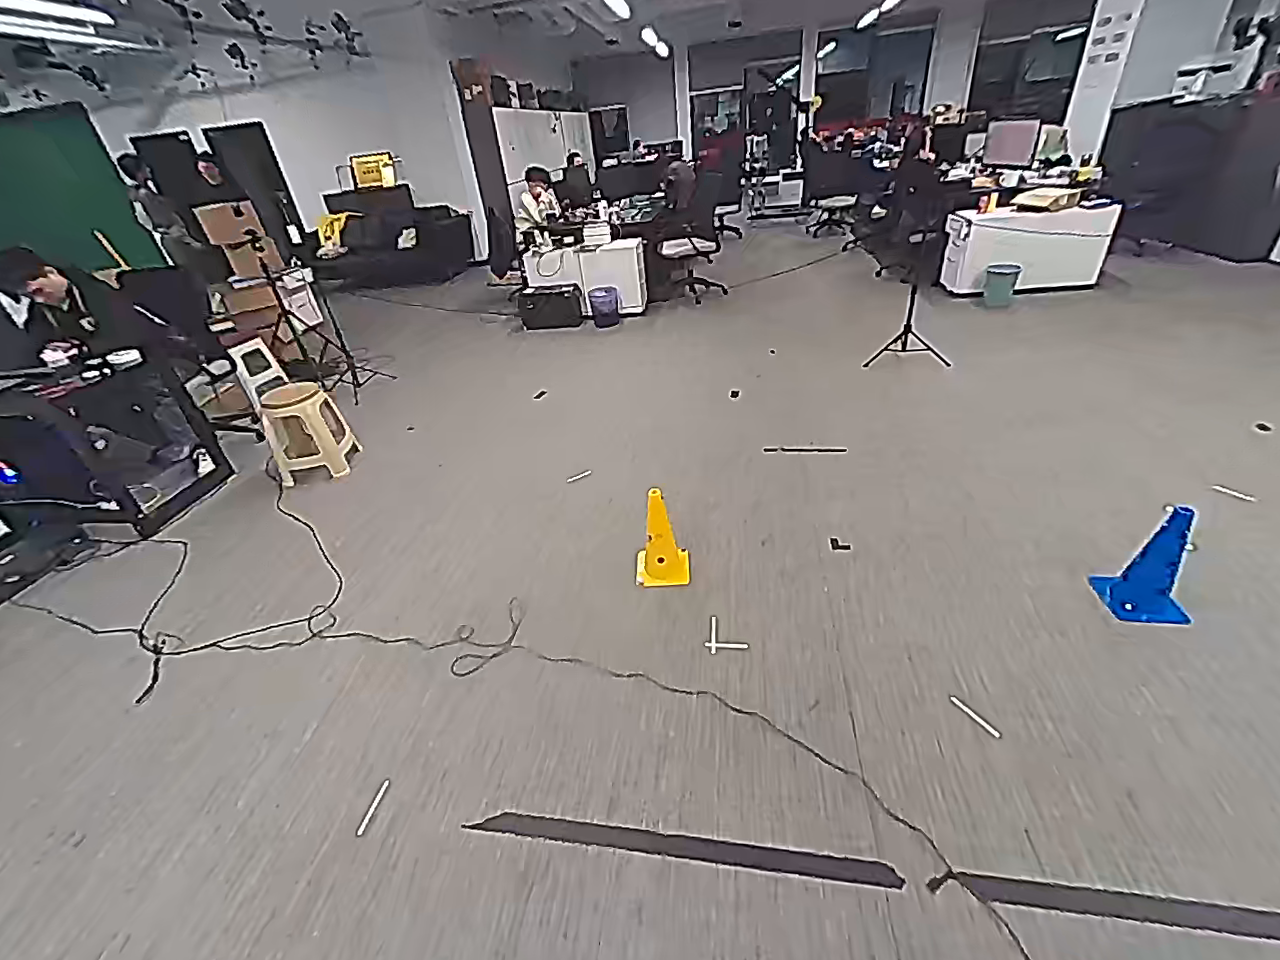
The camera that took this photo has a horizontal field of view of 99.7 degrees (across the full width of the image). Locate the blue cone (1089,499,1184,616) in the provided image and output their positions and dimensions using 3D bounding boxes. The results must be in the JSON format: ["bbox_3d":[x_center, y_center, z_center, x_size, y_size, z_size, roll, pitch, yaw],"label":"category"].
[{"bbox_3d":[1.568,0.227,1.649,0.193,0.380,0.192,0,32,11],"label":"blue cone"}]
